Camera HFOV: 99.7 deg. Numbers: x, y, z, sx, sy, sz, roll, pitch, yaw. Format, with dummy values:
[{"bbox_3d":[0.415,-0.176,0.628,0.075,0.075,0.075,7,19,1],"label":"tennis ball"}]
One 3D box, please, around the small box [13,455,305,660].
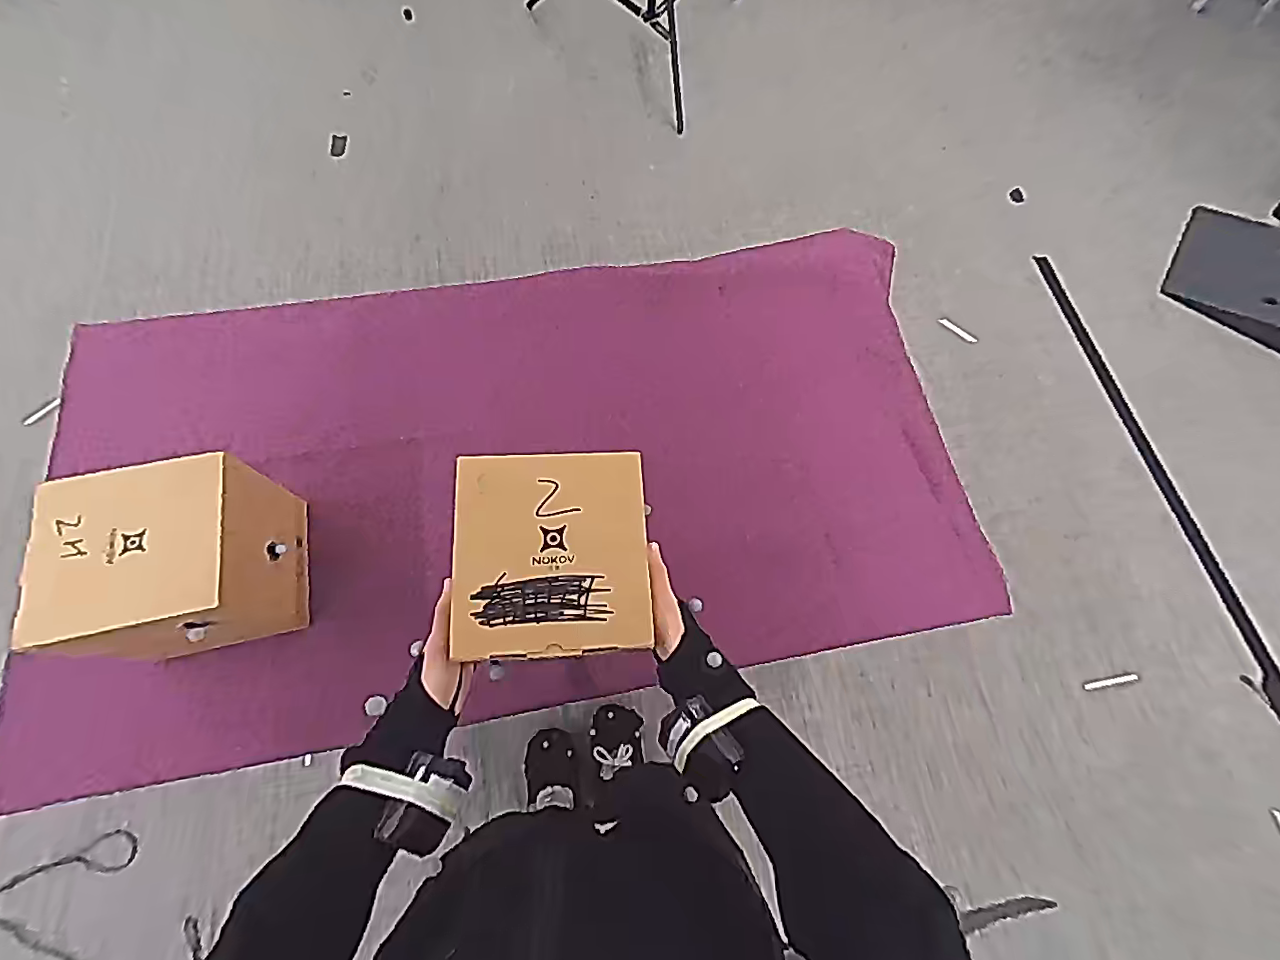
[{"bbox_3d":[-0.495,0.092,0.593,0.179,0.176,0.168,-11,69,-8],"label":"small box"}]
